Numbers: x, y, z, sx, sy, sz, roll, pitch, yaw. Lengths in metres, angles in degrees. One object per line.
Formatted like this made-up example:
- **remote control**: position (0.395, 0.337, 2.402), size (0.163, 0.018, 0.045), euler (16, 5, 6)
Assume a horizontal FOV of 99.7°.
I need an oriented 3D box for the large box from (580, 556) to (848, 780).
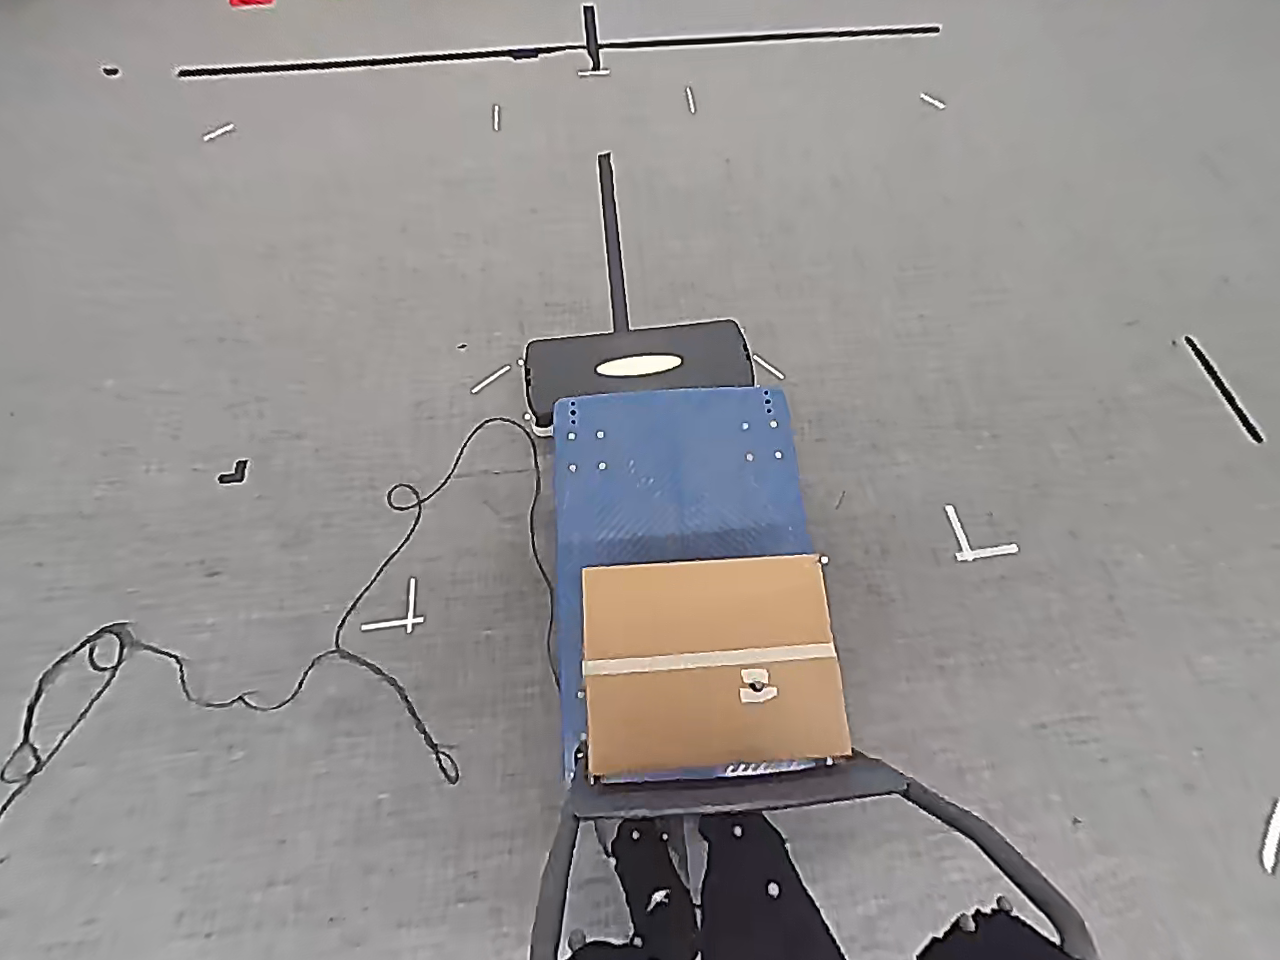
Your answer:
- **large box**: position (0.104, 0.333, 1.002), size (0.408, 0.320, 0.320), euler (-3, 73, -3)
